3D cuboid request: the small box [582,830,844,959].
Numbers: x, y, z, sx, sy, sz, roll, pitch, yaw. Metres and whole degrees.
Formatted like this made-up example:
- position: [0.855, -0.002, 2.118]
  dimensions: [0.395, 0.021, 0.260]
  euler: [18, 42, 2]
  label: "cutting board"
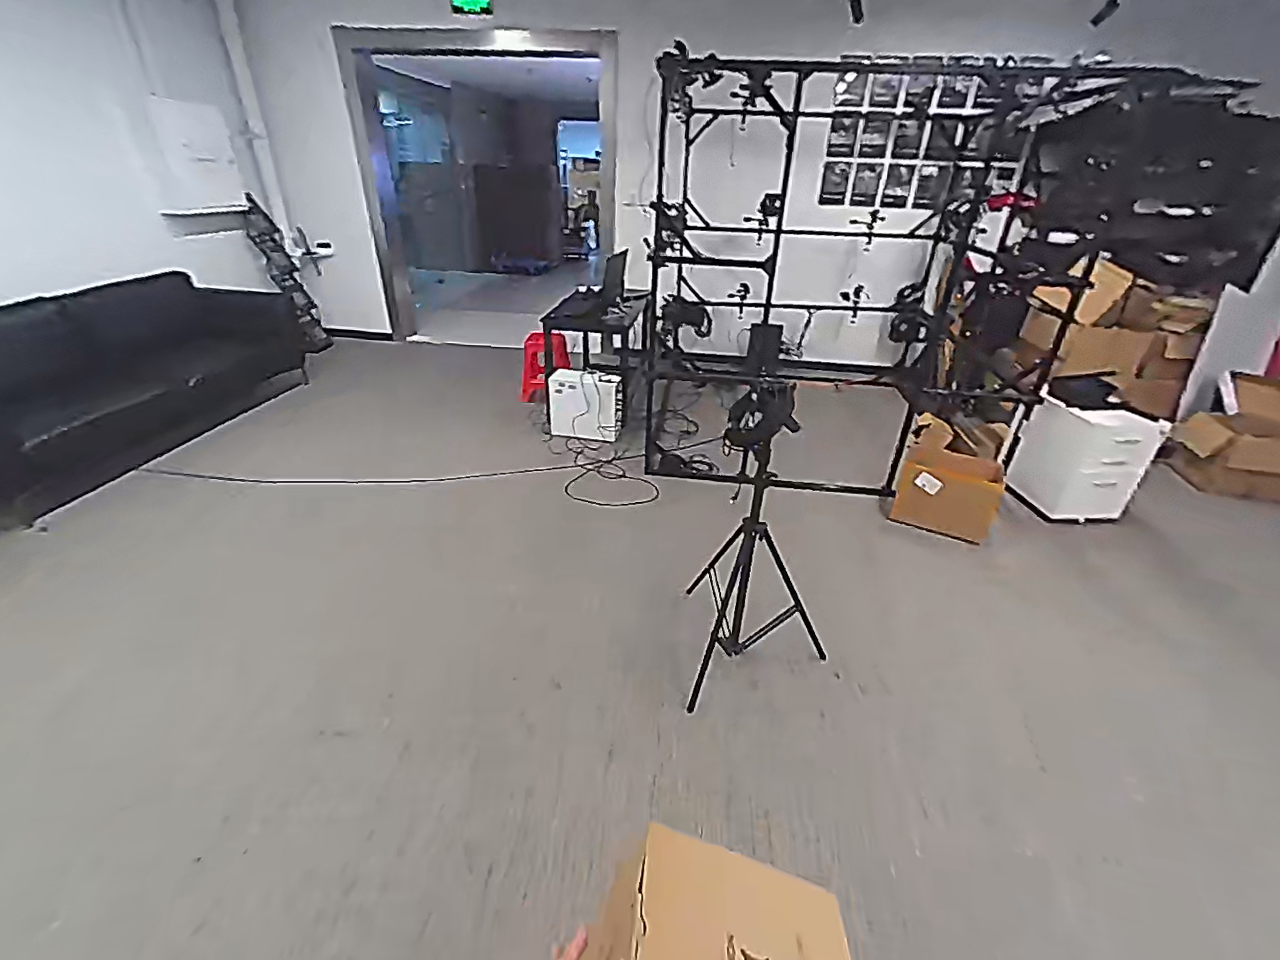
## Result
- position: [0.045, 0.418, 0.401]
  dimensions: [0.179, 0.176, 0.168]
  euler: [24, 17, -3]
  label: "small box"
